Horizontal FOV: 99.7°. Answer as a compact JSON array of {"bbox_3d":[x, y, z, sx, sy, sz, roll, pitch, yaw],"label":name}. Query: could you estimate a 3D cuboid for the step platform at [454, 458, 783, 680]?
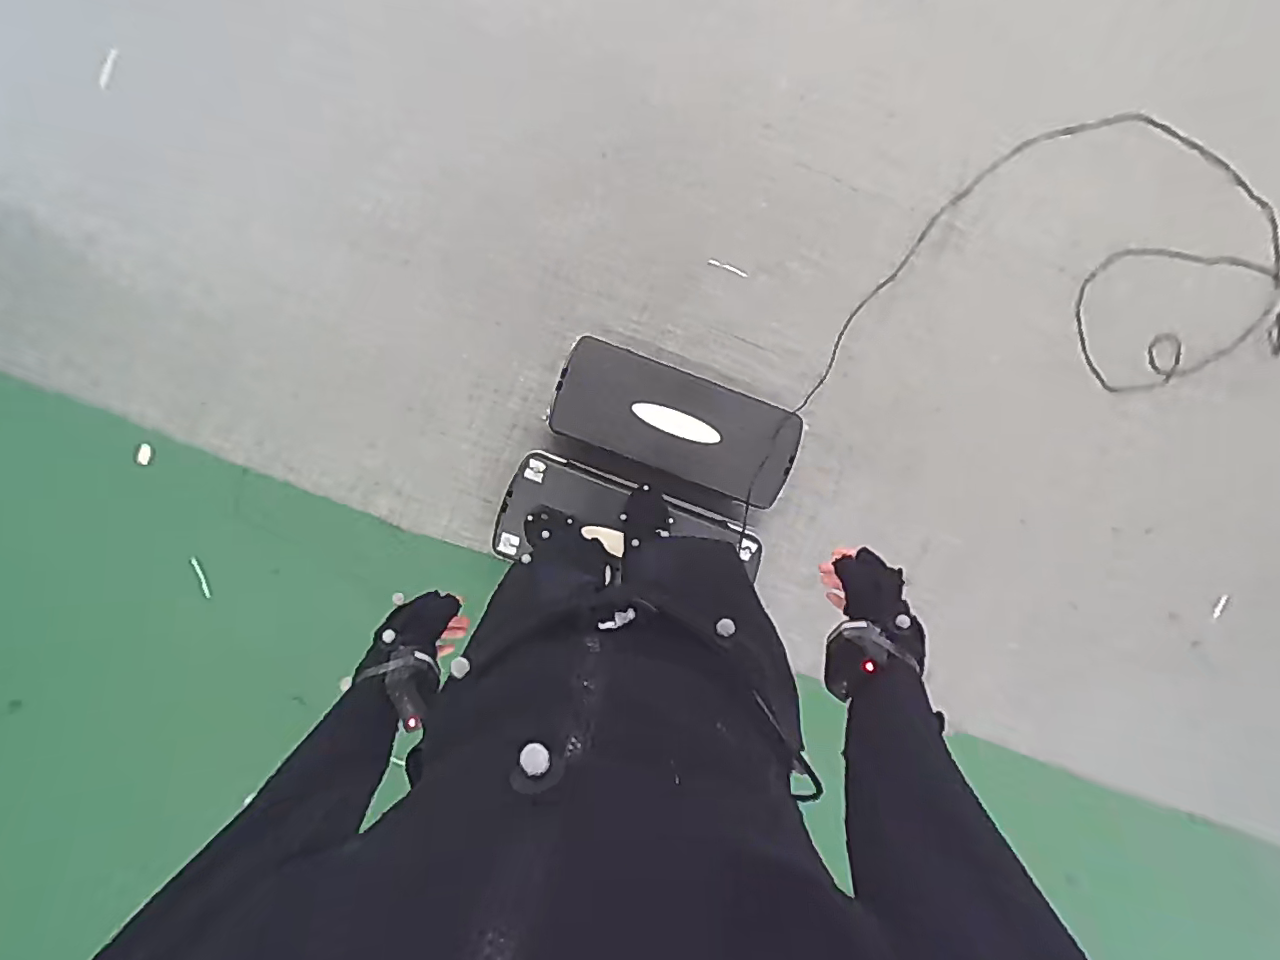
[{"bbox_3d":[-0.045,0.190,1.230,0.684,0.204,0.286,21,91,-3],"label":"step platform"}]
